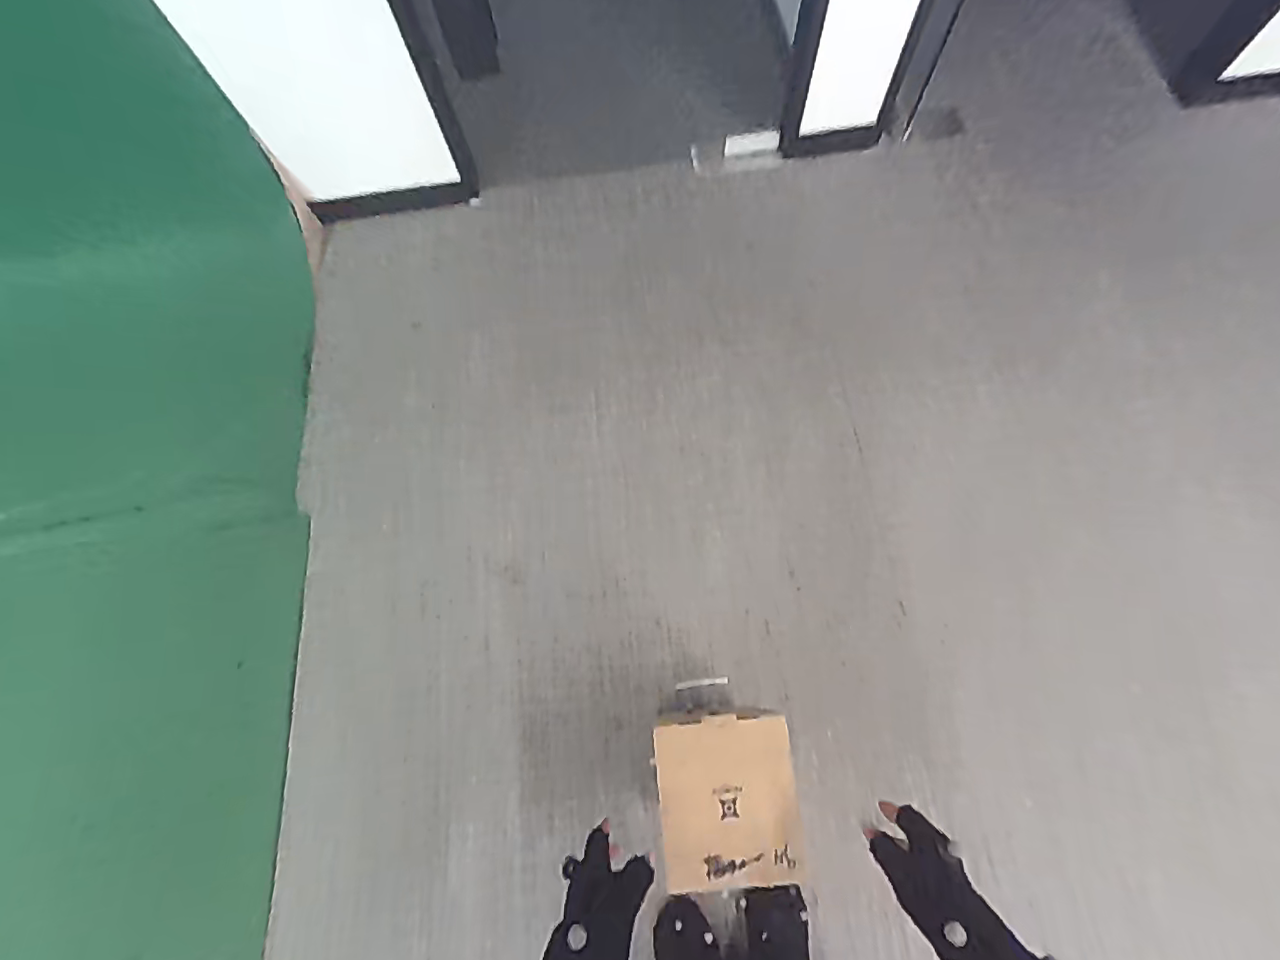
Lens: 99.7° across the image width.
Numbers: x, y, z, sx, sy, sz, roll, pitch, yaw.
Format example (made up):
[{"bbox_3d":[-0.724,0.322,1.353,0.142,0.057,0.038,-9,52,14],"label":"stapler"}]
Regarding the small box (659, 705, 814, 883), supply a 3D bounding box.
[{"bbox_3d":[0.114,0.399,0.715,0.168,0.176,0.179,-6,68,2],"label":"small box"}]
